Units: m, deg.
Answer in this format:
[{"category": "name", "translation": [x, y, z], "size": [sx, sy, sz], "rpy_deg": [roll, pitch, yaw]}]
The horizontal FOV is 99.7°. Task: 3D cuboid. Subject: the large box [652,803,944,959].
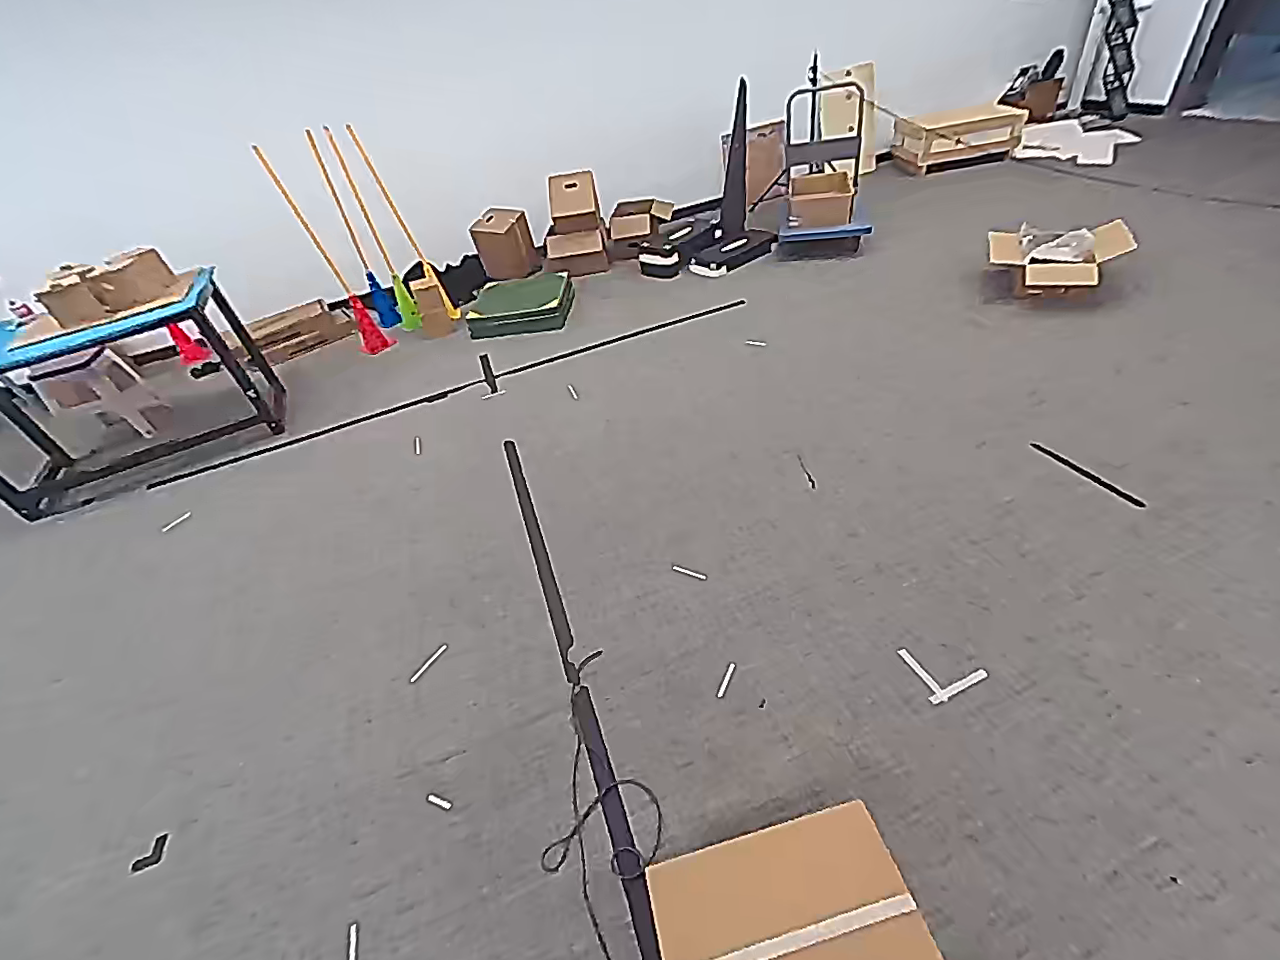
[{"category": "large box", "translation": [0.265, 0.834, 0.928], "size": [0.408, 0.320, 0.320], "rpy_deg": [-15, 40, -4]}]
